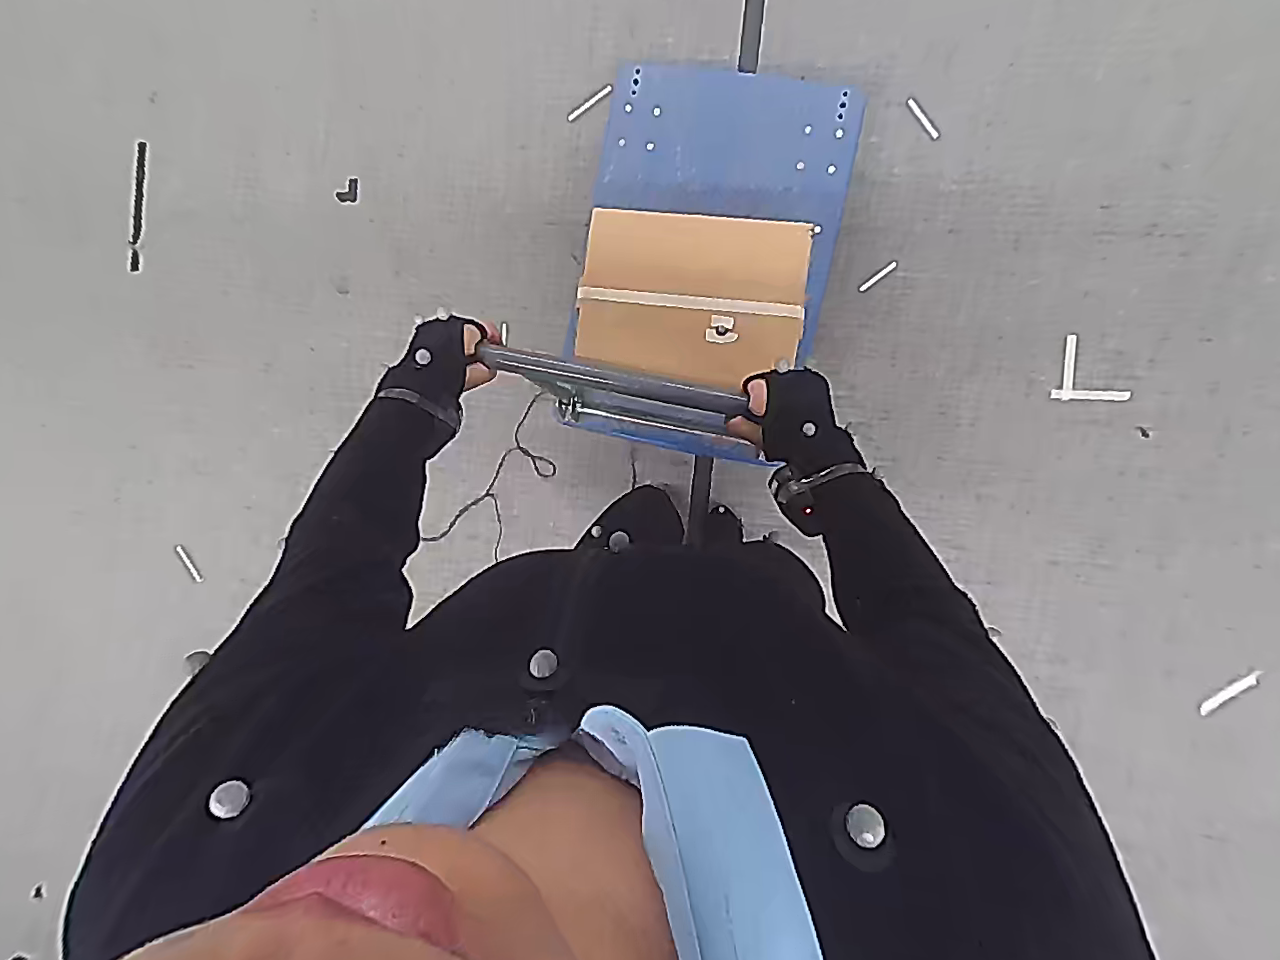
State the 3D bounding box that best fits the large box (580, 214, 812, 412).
[{"bbox_3d":[0.112,-0.328,1.141,0.408,0.320,0.320,8,94,7],"label":"large box"}]
